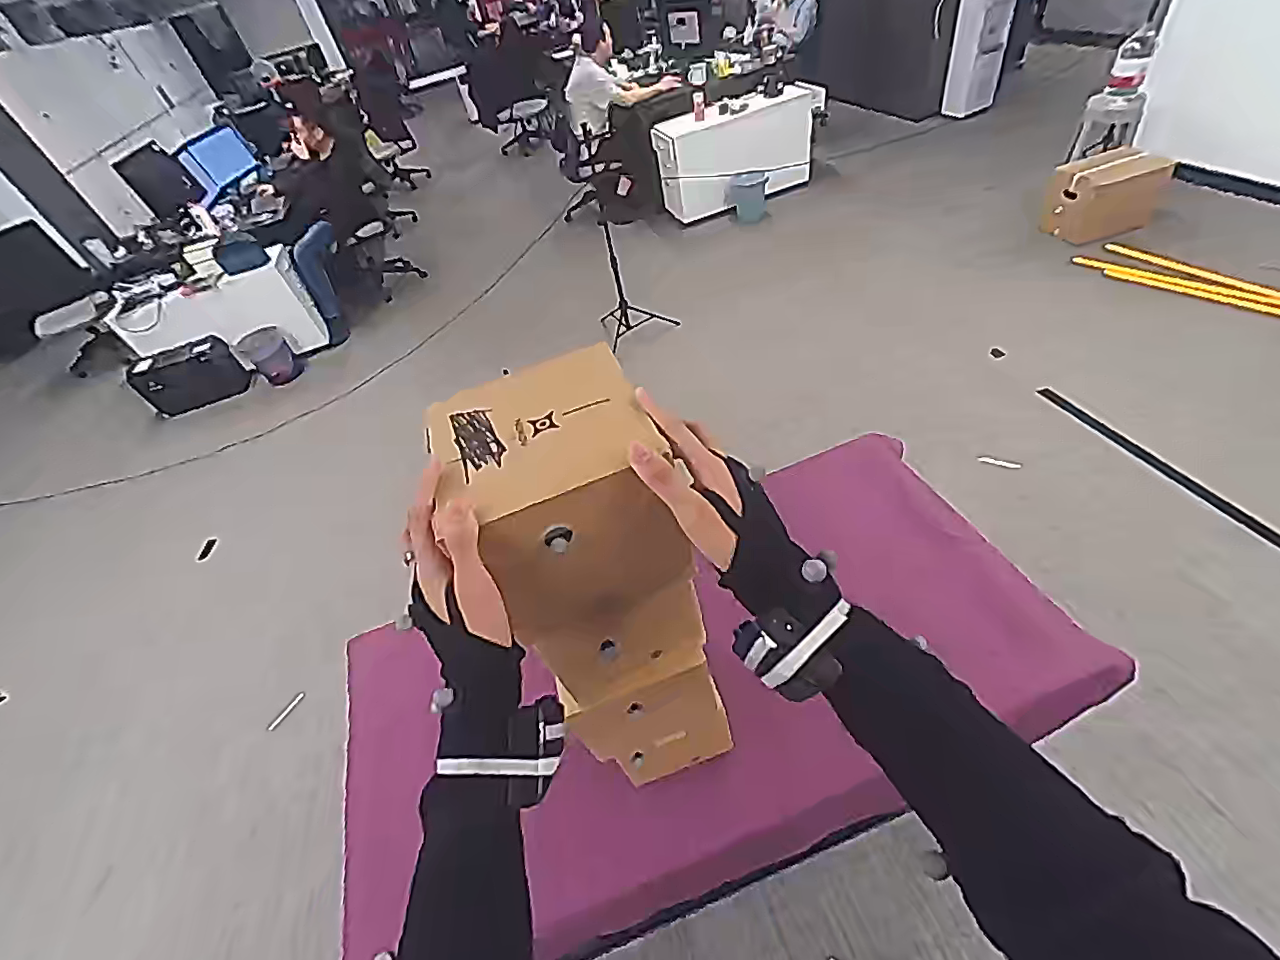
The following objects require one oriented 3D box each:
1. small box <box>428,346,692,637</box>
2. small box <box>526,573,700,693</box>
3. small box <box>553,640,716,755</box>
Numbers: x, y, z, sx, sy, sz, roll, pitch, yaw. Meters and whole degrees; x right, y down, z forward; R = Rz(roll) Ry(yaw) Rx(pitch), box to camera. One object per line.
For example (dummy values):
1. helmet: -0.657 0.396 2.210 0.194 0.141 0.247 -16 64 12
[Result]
1. small box: -0.068 0.013 0.491 0.179 0.176 0.168 -21 46 -5
2. small box: -0.046 0.116 0.618 0.168 0.176 0.179 -26 45 -9
3. small box: -0.013 0.237 0.722 0.179 0.176 0.168 -20 46 -4
